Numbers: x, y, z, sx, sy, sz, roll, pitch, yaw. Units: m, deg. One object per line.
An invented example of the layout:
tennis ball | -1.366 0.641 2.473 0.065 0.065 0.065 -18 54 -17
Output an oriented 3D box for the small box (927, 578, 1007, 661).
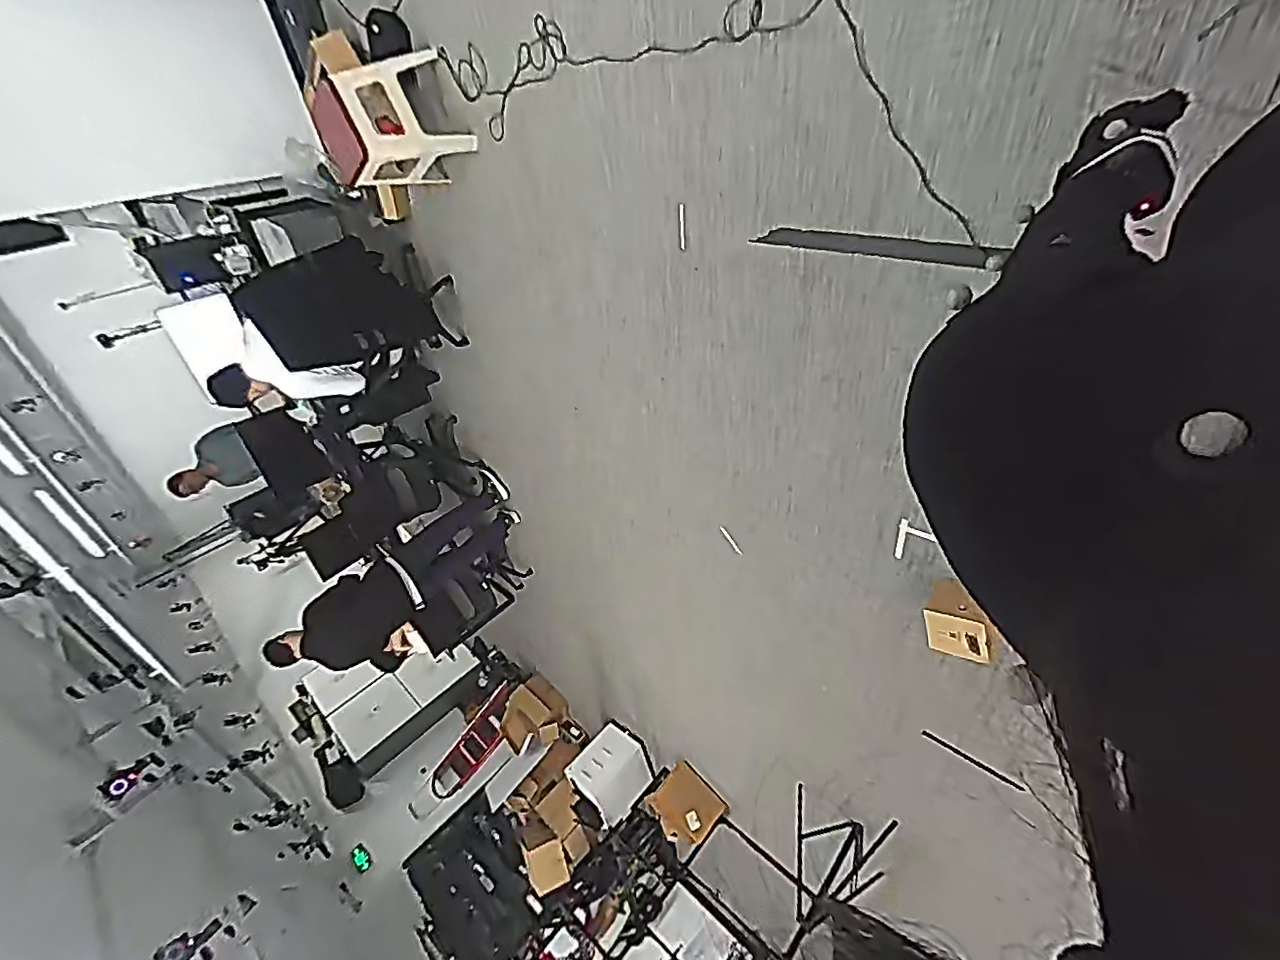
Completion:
small box | 1.037 0.432 1.705 0.179 0.176 0.168 7 124 48
